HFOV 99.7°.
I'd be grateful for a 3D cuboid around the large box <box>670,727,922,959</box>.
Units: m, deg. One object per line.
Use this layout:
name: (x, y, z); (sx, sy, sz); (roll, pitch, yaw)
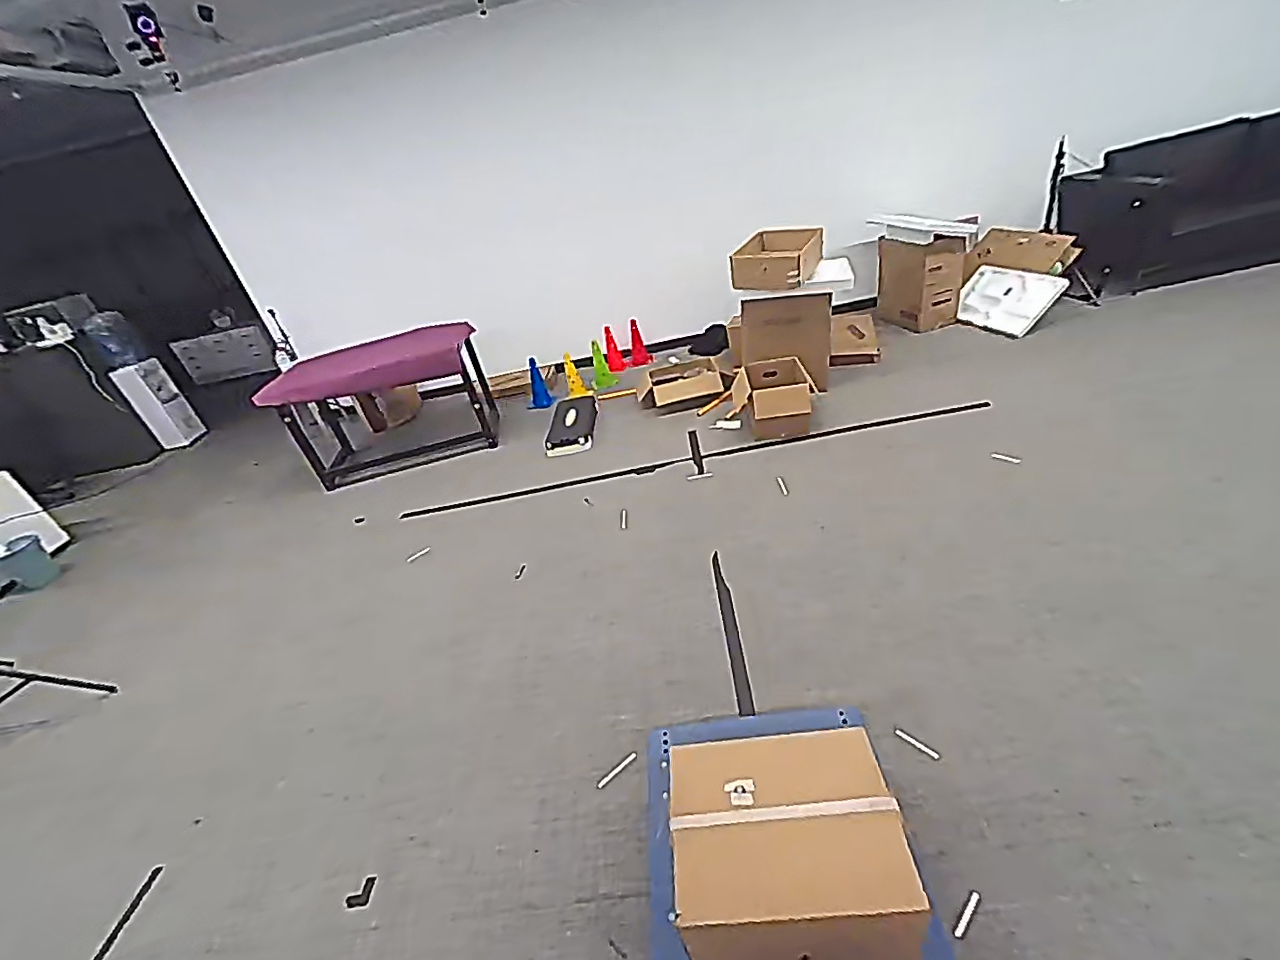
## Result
large box: (0.292, 0.750, 1.089); (0.408, 0.320, 0.320); (-10, 31, 7)
